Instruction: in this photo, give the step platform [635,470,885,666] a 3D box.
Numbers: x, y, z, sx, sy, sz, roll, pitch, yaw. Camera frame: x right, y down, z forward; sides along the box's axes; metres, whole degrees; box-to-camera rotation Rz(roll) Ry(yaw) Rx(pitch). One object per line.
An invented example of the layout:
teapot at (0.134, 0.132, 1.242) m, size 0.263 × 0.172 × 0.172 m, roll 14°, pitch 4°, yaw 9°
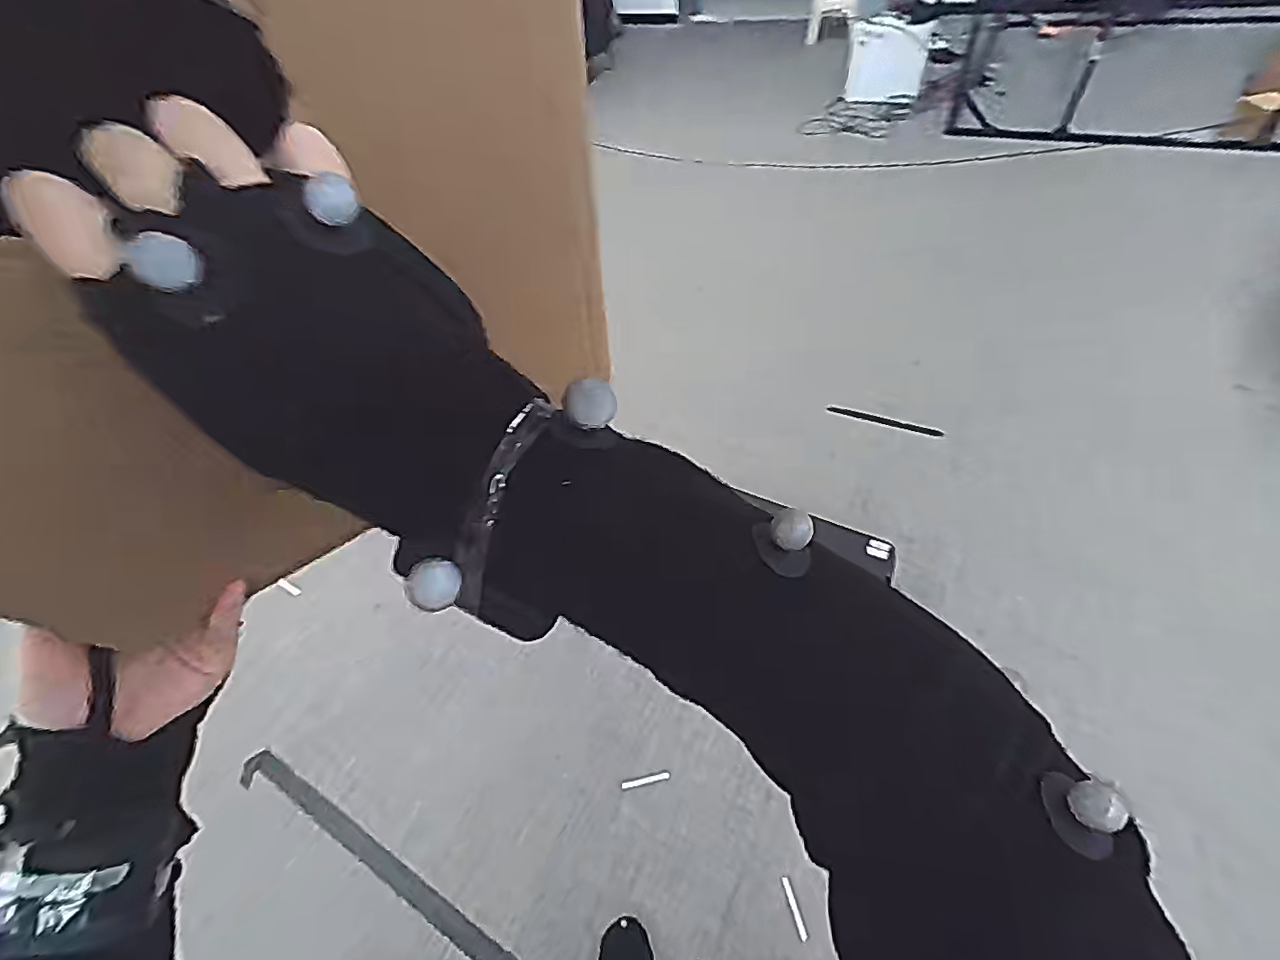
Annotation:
step platform at (0.321, 0.222, 1.541) m, size 0.684 × 0.204 × 0.286 m, roll 24°, pitch 59°, yaw 27°
